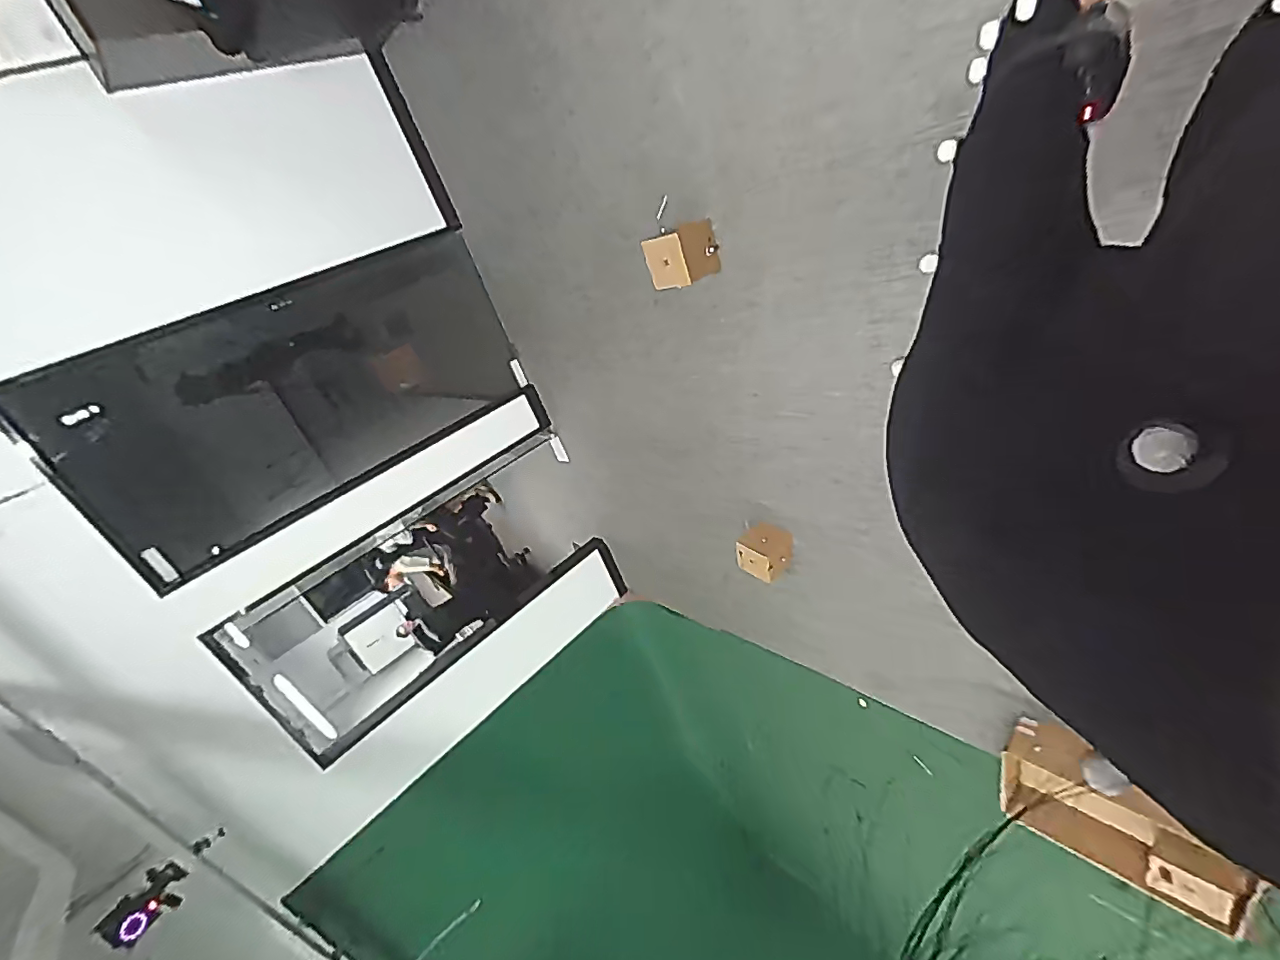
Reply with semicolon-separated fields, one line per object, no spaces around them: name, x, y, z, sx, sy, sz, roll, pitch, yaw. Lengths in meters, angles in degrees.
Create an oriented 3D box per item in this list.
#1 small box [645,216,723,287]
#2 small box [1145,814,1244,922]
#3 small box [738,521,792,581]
small box;0.151;-0.771;1.830;0.179;0.176;0.168;12;132;48
small box;1.655;1.146;1.616;0.179;0.176;0.168;14;131;48
small box;0.559;0.307;2.395;0.179;0.176;0.168;24;140;40
